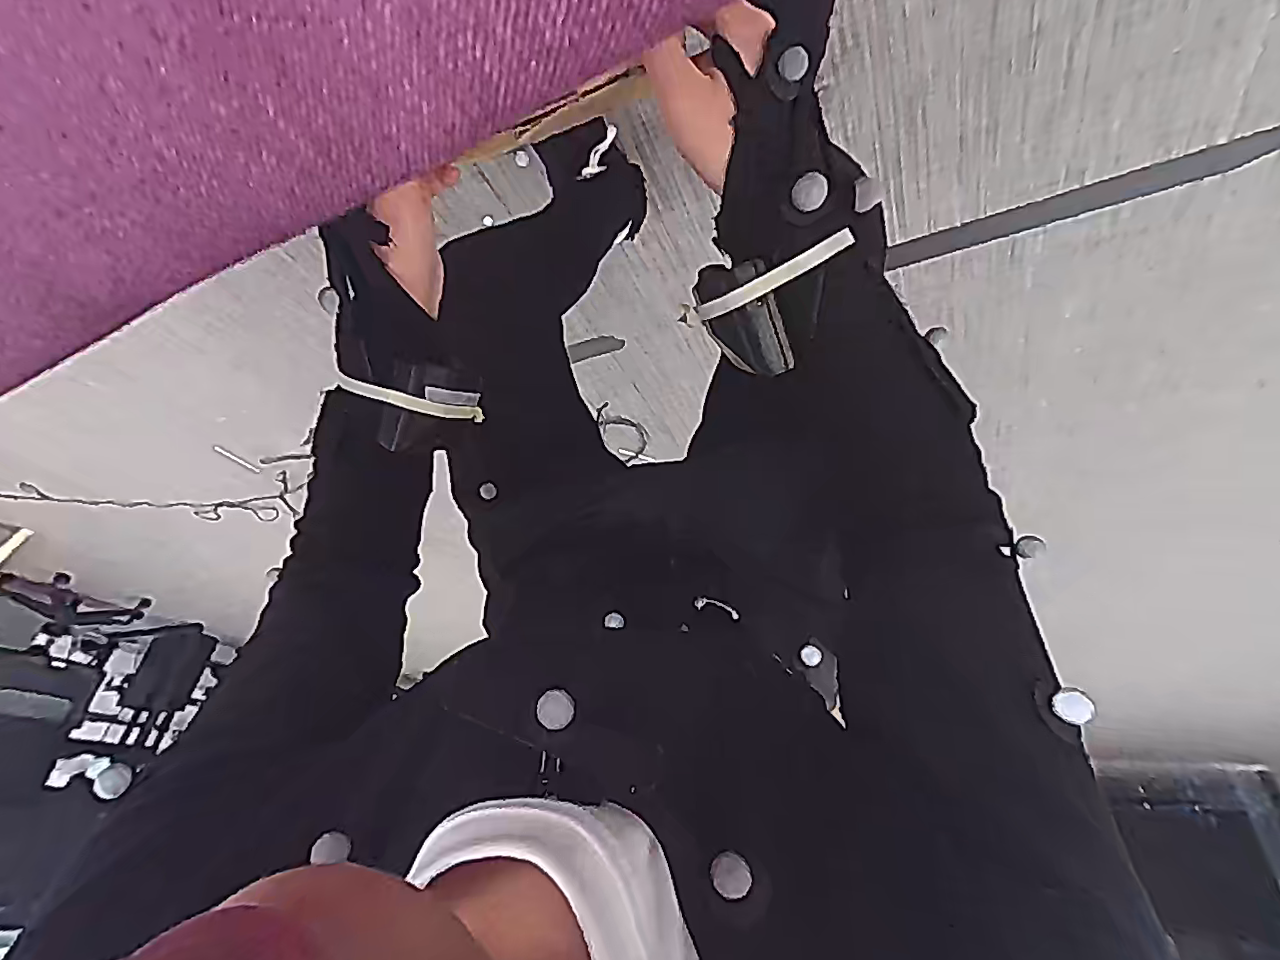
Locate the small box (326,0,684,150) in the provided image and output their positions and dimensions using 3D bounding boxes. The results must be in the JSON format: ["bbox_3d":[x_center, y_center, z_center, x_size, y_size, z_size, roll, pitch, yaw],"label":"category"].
[{"bbox_3d":[-0.076,-0.309,0.299,0.168,0.176,0.179,-15,120,12],"label":"small box"}]
